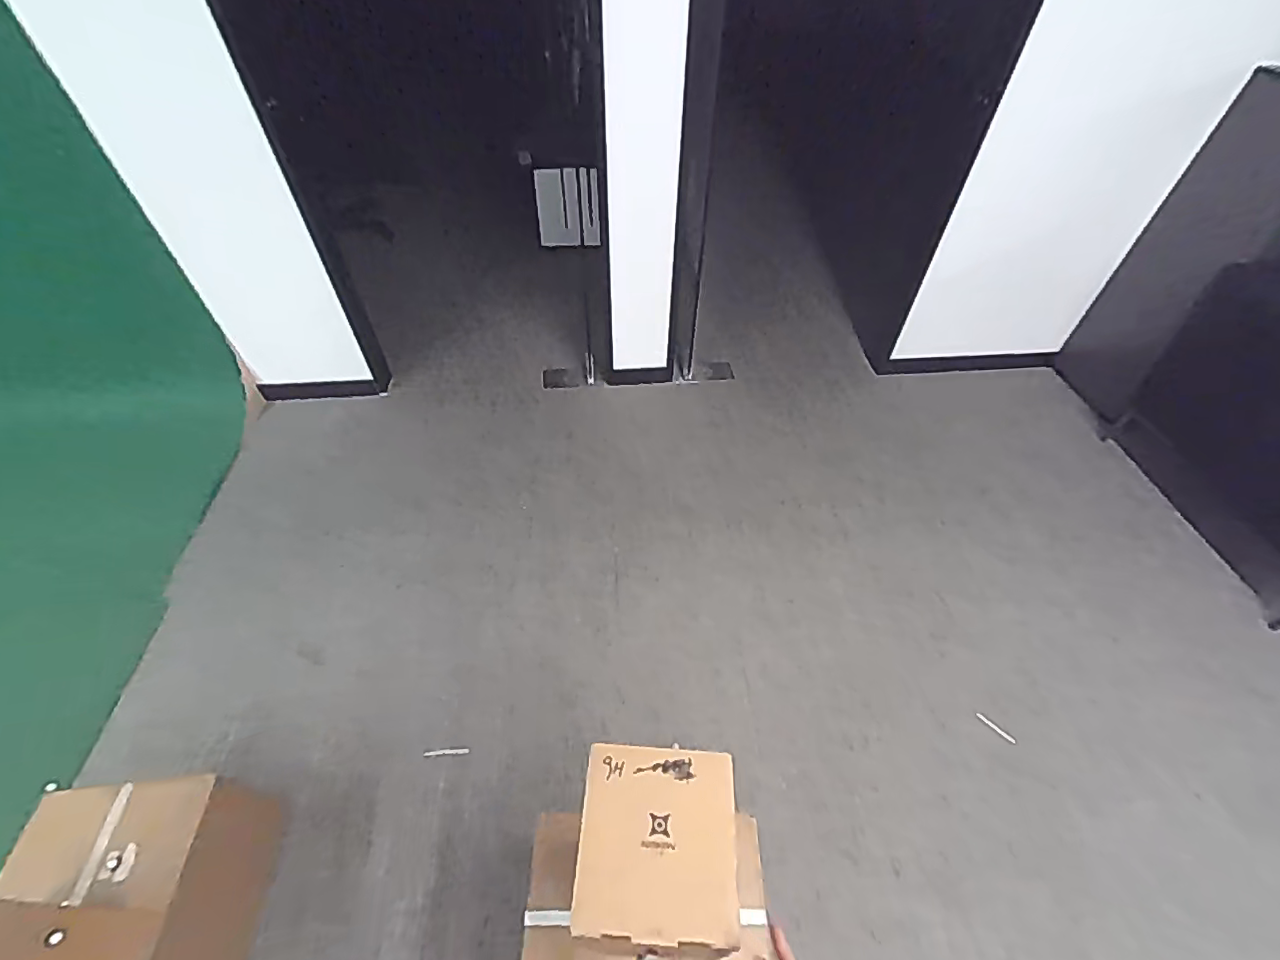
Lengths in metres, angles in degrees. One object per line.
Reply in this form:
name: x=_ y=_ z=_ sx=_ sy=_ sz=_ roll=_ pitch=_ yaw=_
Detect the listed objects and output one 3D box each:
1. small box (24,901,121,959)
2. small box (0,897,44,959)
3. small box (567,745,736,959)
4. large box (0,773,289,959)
small box: x=-0.924 y=0.729 z=0.779 sx=0.168 sy=0.176 sz=0.179 roll=-2 pitch=47 yaw=-3
small box: x=-0.913 y=0.619 z=0.655 sx=0.168 sy=0.176 sz=0.179 roll=-2 pitch=47 yaw=-4
small box: x=0.017 y=0.431 z=0.626 sx=0.168 sy=0.176 sz=0.179 roll=4 pitch=46 yaw=2
large box: x=-0.948 y=0.828 z=1.017 sx=0.320 sy=0.320 sz=0.408 roll=-4 pitch=47 yaw=-5
